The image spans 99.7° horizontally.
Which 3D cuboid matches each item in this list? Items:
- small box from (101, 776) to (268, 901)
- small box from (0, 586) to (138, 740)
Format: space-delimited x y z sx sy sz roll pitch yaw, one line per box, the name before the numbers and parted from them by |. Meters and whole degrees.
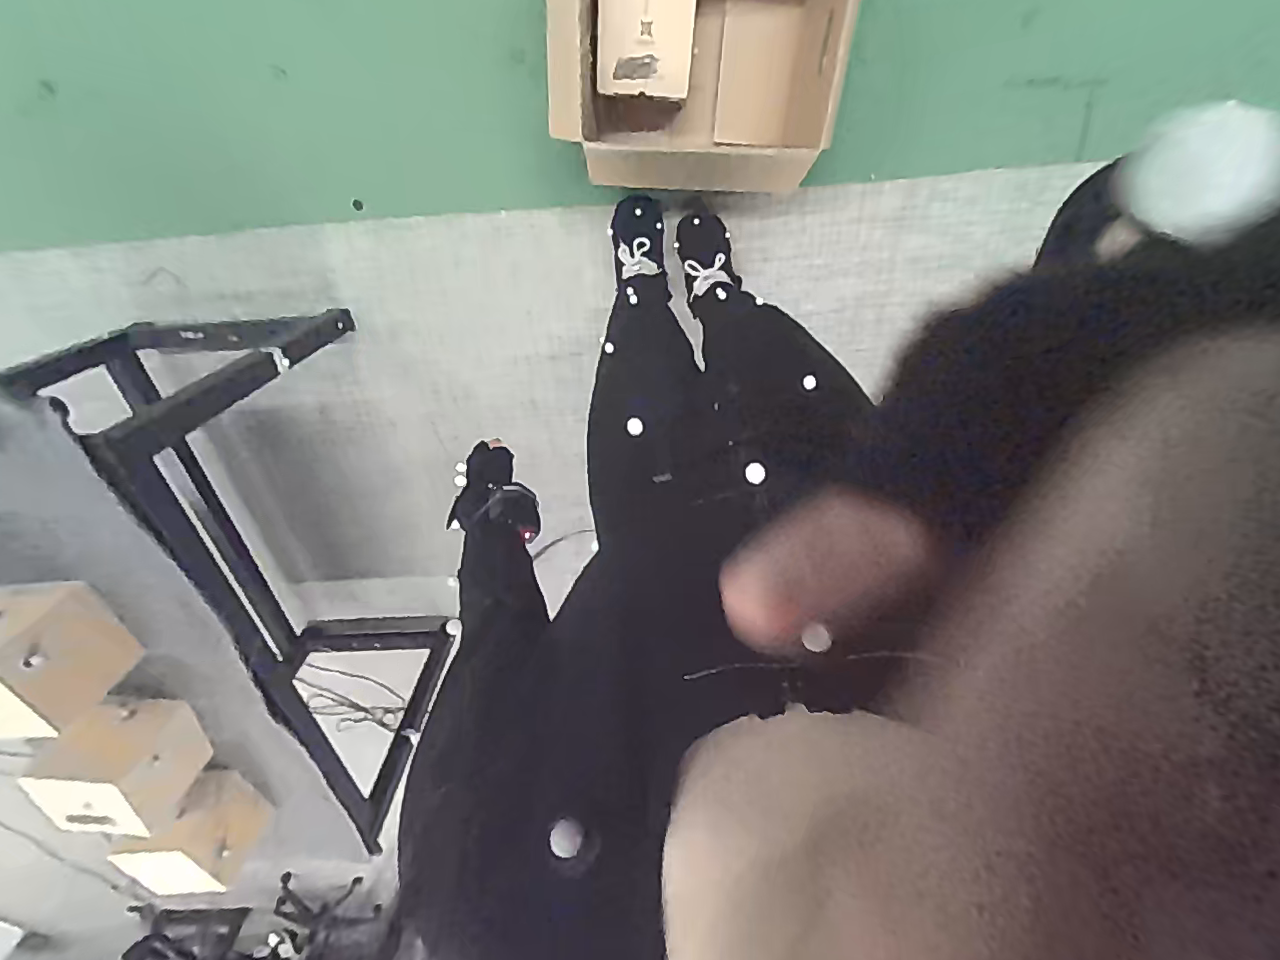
small box | -0.945 0.748 1.142 0.168 0.176 0.179 -7 121 5
small box | -0.971 0.281 0.849 0.168 0.176 0.179 -4 122 4
